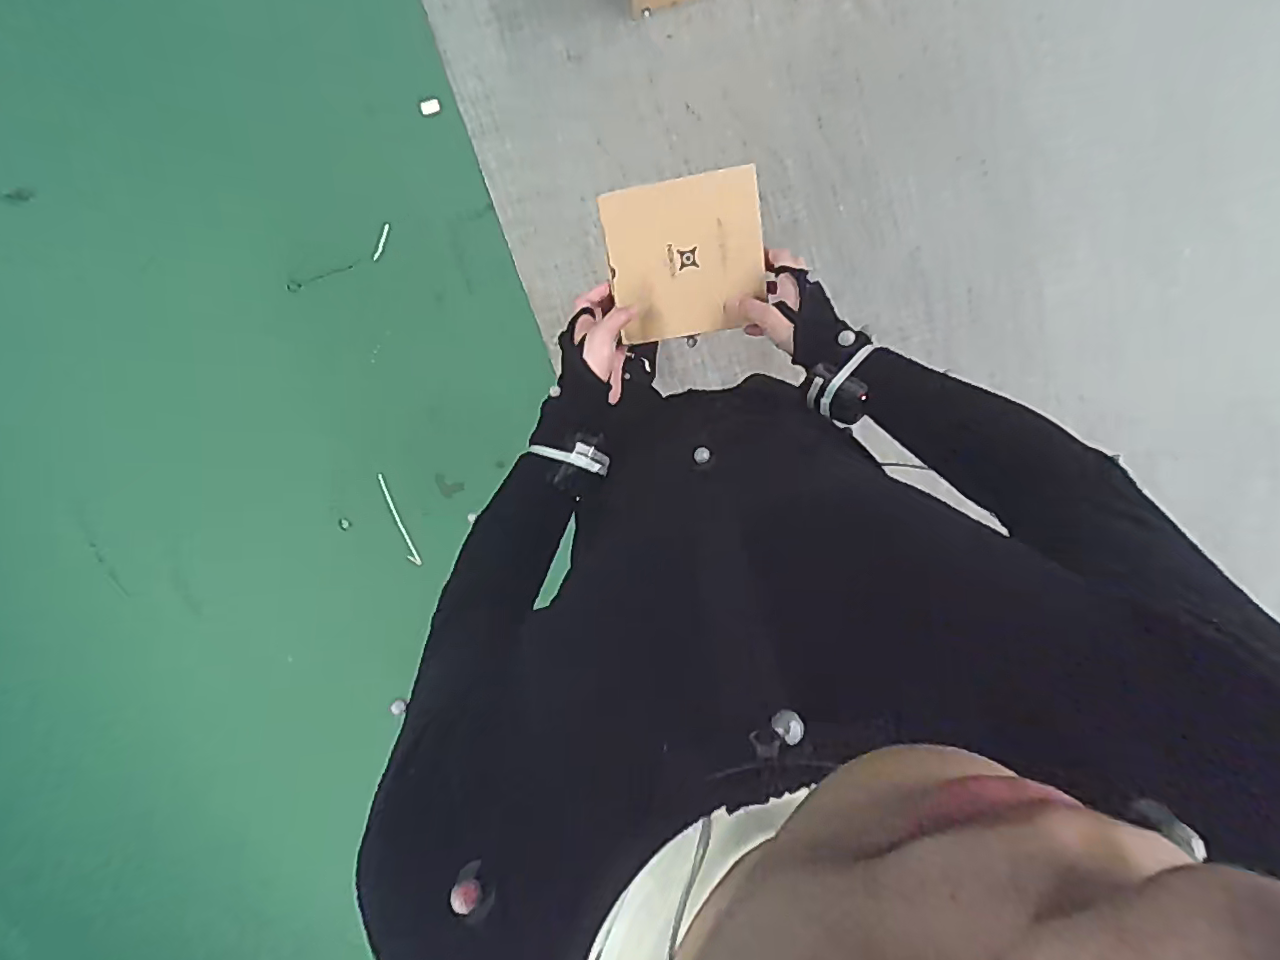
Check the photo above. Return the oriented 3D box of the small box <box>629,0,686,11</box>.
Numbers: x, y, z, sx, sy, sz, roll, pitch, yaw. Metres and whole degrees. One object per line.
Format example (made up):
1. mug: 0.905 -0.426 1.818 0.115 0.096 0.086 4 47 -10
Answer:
1. small box: 0.039 -1.222 1.232 0.168 0.176 0.179 -12 103 5

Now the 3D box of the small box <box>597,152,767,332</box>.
1. small box: 0.055 -0.277 0.670 0.179 0.176 0.168 -6 105 6
